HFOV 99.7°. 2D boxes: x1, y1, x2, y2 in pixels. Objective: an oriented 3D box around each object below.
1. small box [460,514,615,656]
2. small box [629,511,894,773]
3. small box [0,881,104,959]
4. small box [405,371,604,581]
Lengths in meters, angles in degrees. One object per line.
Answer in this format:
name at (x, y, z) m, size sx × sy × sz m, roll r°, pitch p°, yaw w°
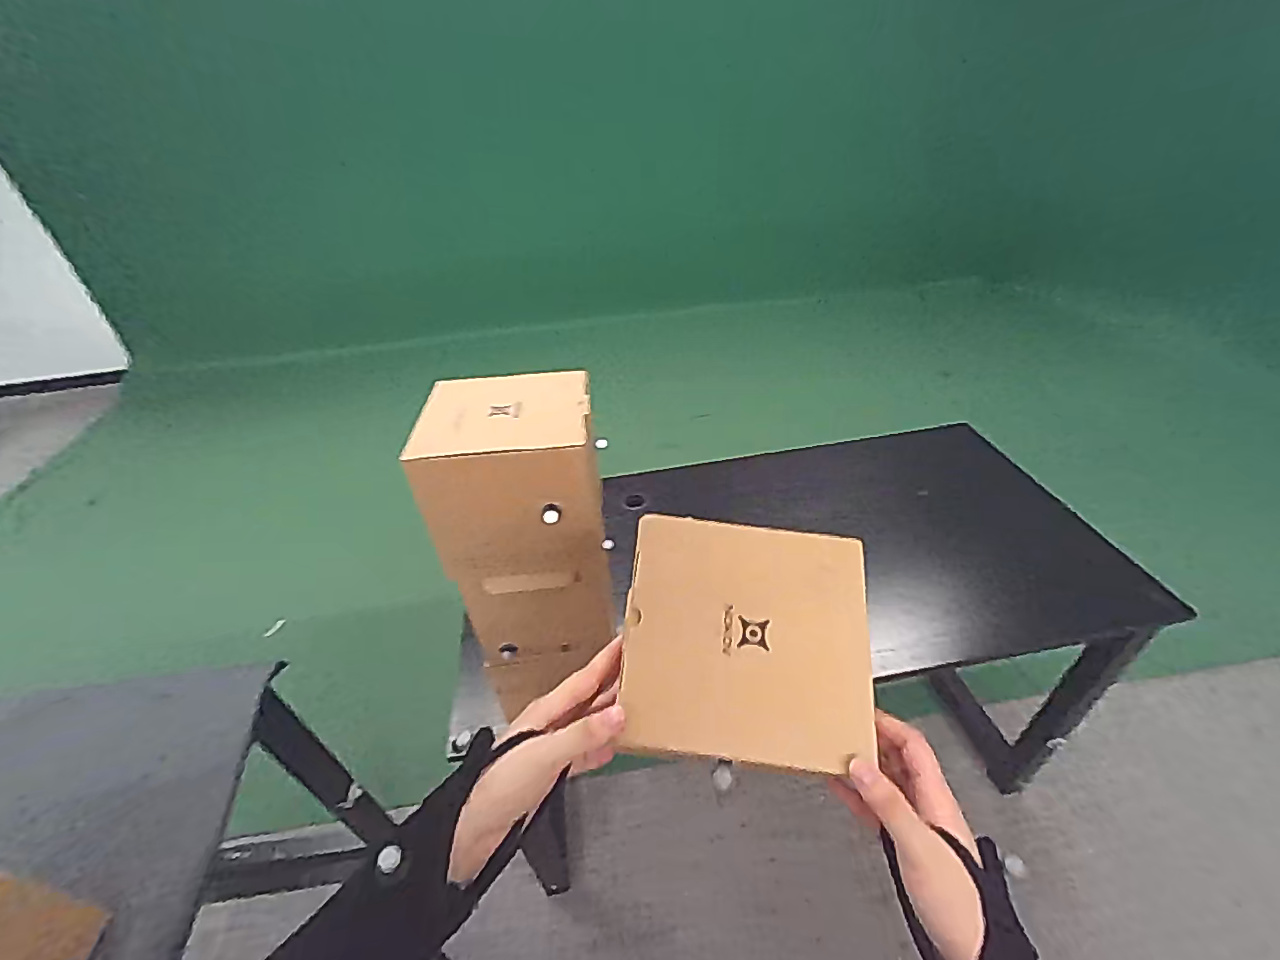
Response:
small box at (-0.124, 0.117, 0.719) m, size 0.168 × 0.176 × 0.179 m, roll -6°, pitch 37°, yaw -3°
small box at (0.088, 0.142, 0.458) m, size 0.179 × 0.176 × 0.168 m, roll 6°, pitch 62°, yaw 4°
small box at (-0.714, 0.525, 0.534) m, size 0.179 × 0.176 × 0.168 m, roll -7°, pitch 39°, yaw -1°
small box at (-0.133, -0.005, 0.612) m, size 0.179 × 0.176 × 0.168 m, roll -6°, pitch 36°, yaw -2°
